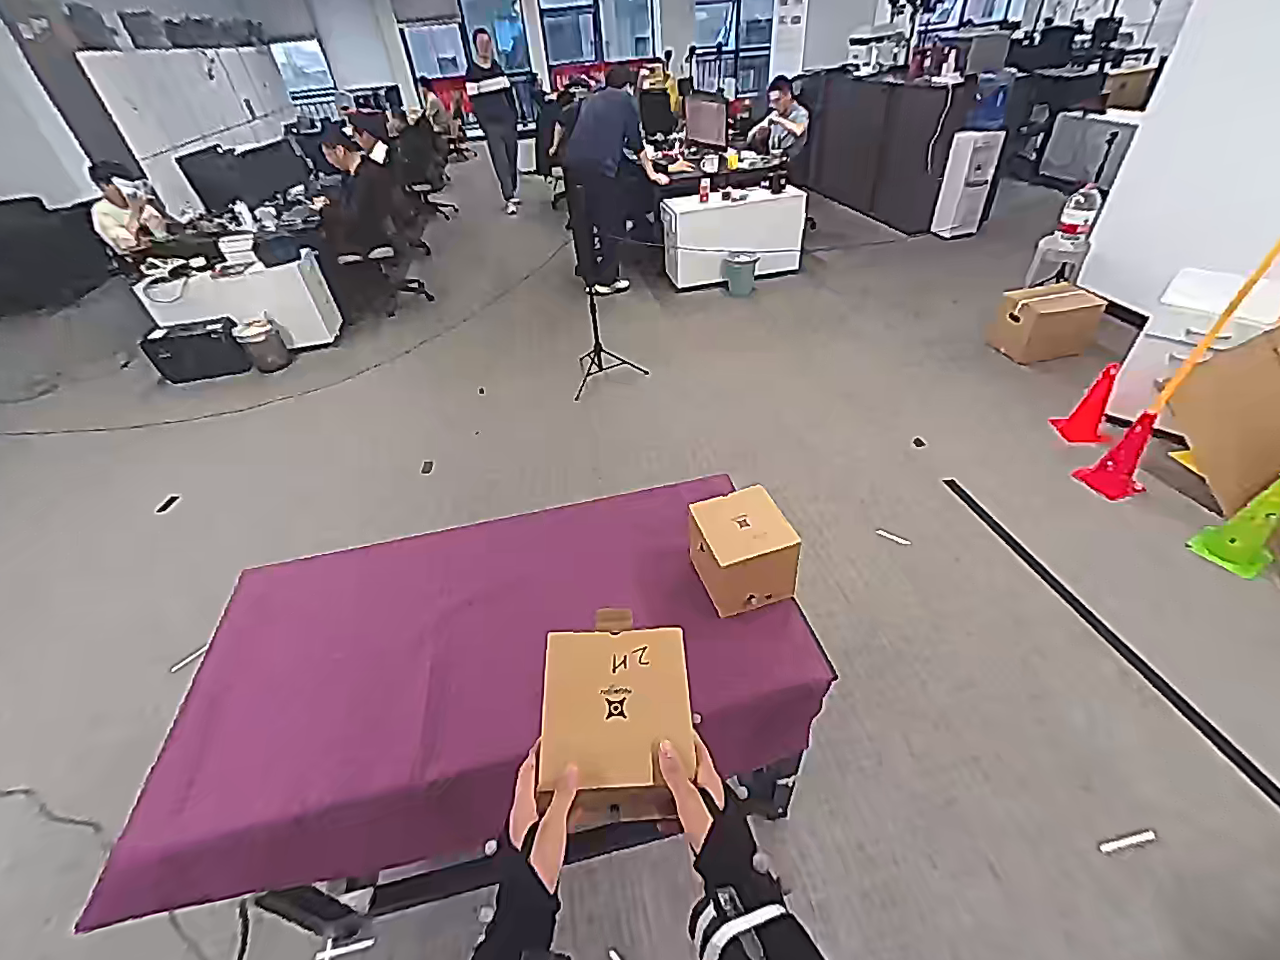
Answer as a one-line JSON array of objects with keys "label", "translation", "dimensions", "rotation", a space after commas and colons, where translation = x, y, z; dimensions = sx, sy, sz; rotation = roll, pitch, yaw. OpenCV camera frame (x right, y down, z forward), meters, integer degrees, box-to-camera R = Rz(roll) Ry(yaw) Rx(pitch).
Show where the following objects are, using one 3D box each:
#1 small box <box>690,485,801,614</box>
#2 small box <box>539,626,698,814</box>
[{"label": "small box", "translation": [0.208, 0.141, 1.108], "dimensions": [0.168, 0.176, 0.179], "rotation": [-15, 41, -8]}, {"label": "small box", "translation": [-0.024, 0.297, 0.661], "dimensions": [0.168, 0.176, 0.179], "rotation": [0, 48, -3]}]
